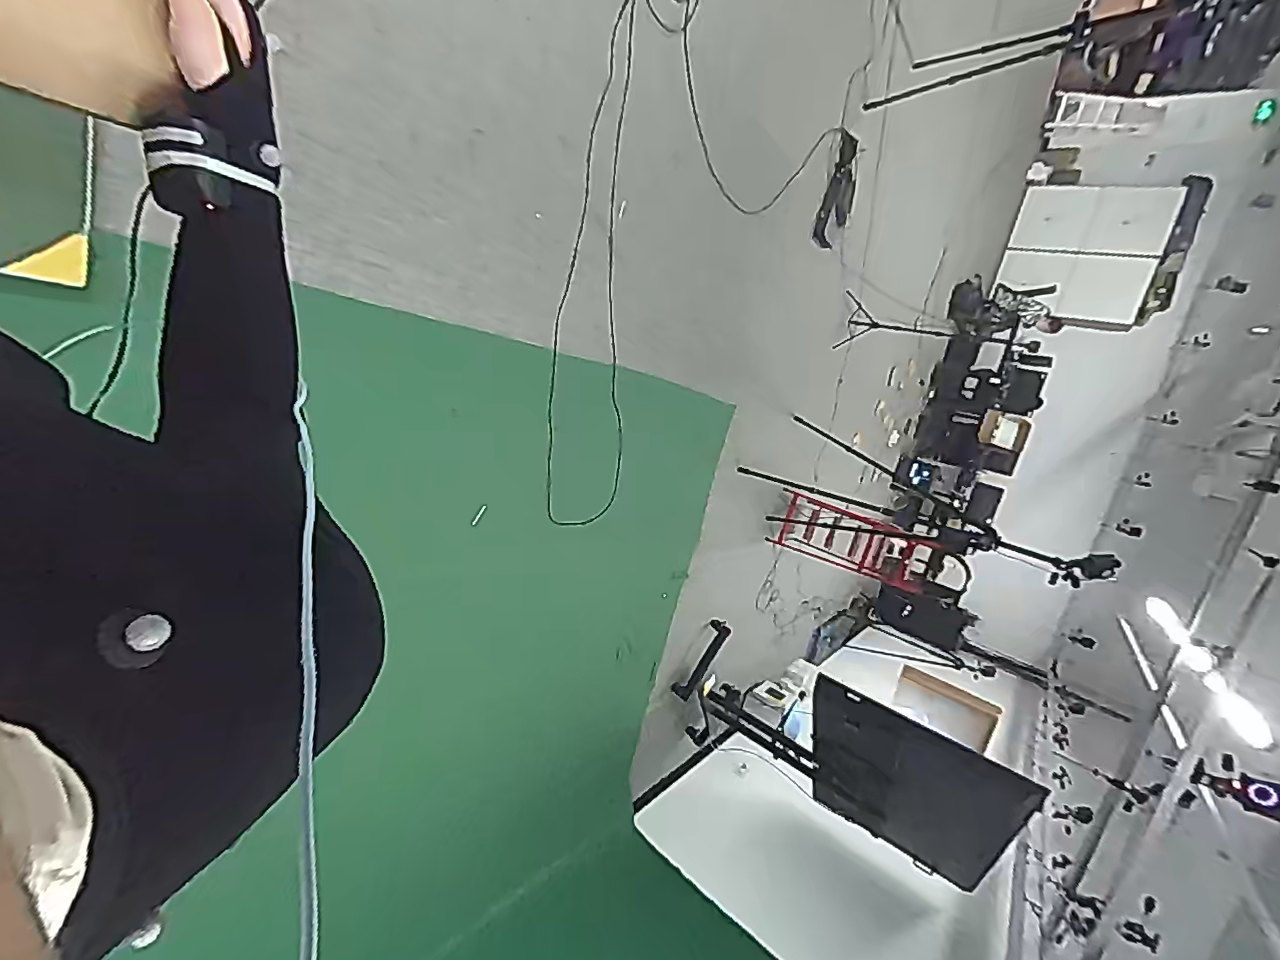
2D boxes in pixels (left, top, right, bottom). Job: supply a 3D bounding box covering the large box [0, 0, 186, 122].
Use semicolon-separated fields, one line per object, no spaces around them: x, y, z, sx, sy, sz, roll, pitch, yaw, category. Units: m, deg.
-0.568;-0.469;0.315;0.408;0.320;0.320;-9;122;-55;large box
